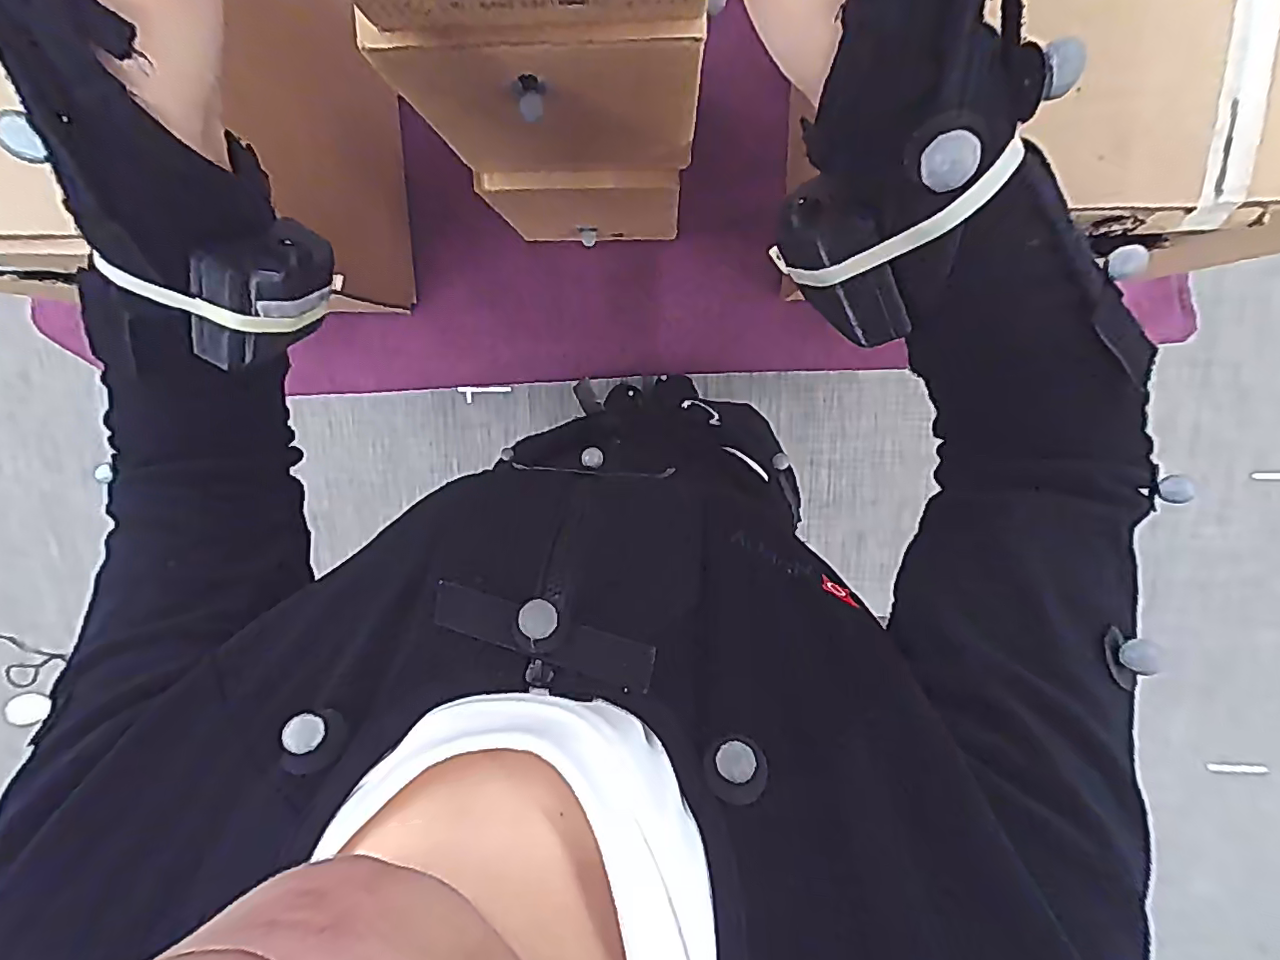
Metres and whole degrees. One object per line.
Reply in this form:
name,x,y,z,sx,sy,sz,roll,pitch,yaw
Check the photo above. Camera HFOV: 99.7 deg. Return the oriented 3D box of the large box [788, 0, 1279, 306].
large box,0.294,-0.362,0.399,0.320,0.320,0.408,0,100,3
